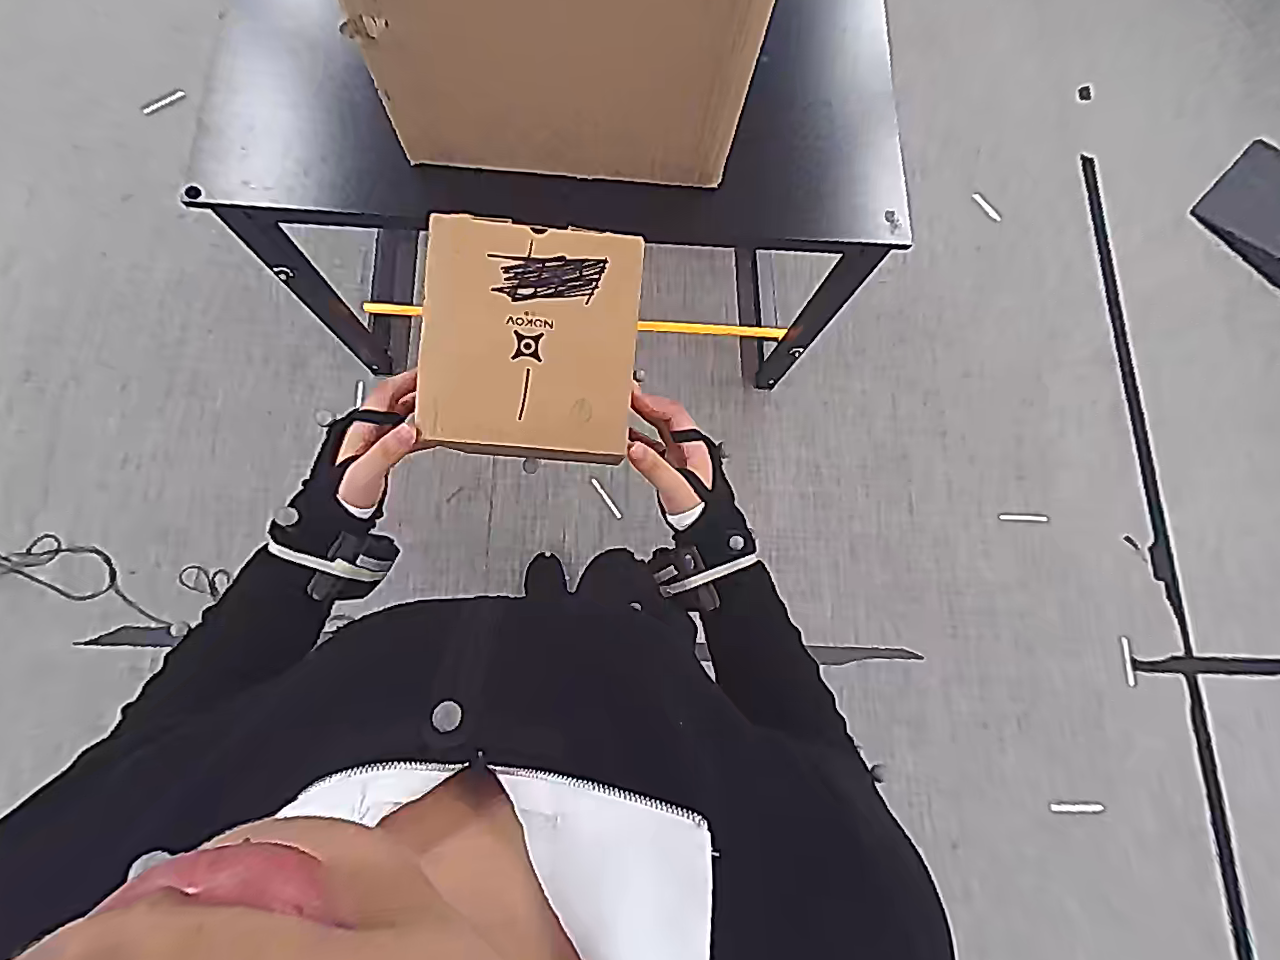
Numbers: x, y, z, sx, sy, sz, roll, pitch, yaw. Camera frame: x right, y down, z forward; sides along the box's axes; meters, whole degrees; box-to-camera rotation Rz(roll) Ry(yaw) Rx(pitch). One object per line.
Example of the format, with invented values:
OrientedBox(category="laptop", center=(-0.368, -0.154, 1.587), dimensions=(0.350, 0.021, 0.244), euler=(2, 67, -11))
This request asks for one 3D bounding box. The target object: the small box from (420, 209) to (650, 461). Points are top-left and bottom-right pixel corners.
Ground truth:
OrientedBox(category="small box", center=(-0.086, -0.115, 0.500), dimensions=(0.168, 0.176, 0.179), euler=(5, 89, -4))
